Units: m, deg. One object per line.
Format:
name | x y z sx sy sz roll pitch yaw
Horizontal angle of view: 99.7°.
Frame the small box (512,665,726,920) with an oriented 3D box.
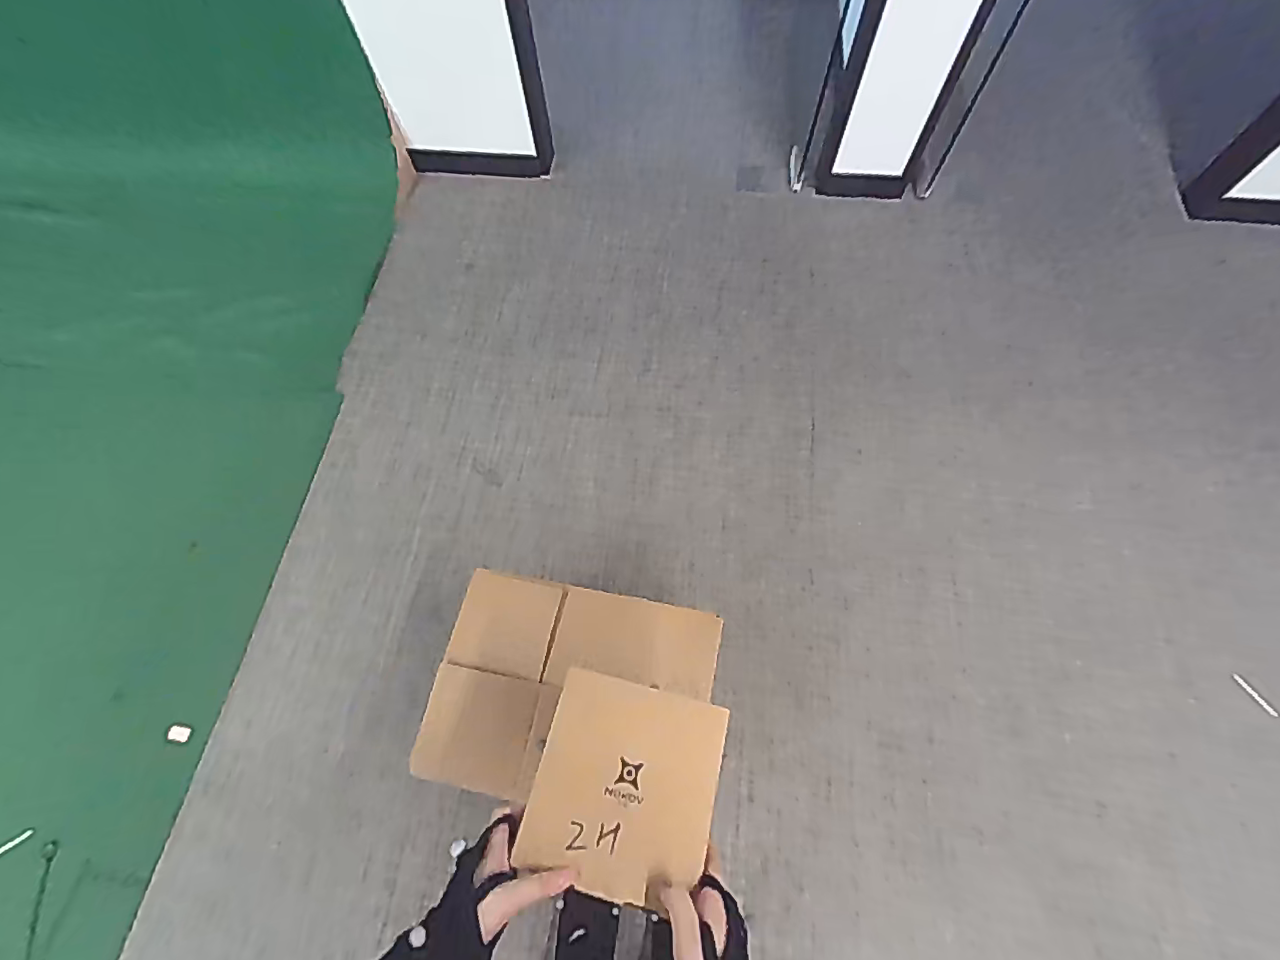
small box | -0.014 0.318 0.573 0.168 0.176 0.179 12 62 8
